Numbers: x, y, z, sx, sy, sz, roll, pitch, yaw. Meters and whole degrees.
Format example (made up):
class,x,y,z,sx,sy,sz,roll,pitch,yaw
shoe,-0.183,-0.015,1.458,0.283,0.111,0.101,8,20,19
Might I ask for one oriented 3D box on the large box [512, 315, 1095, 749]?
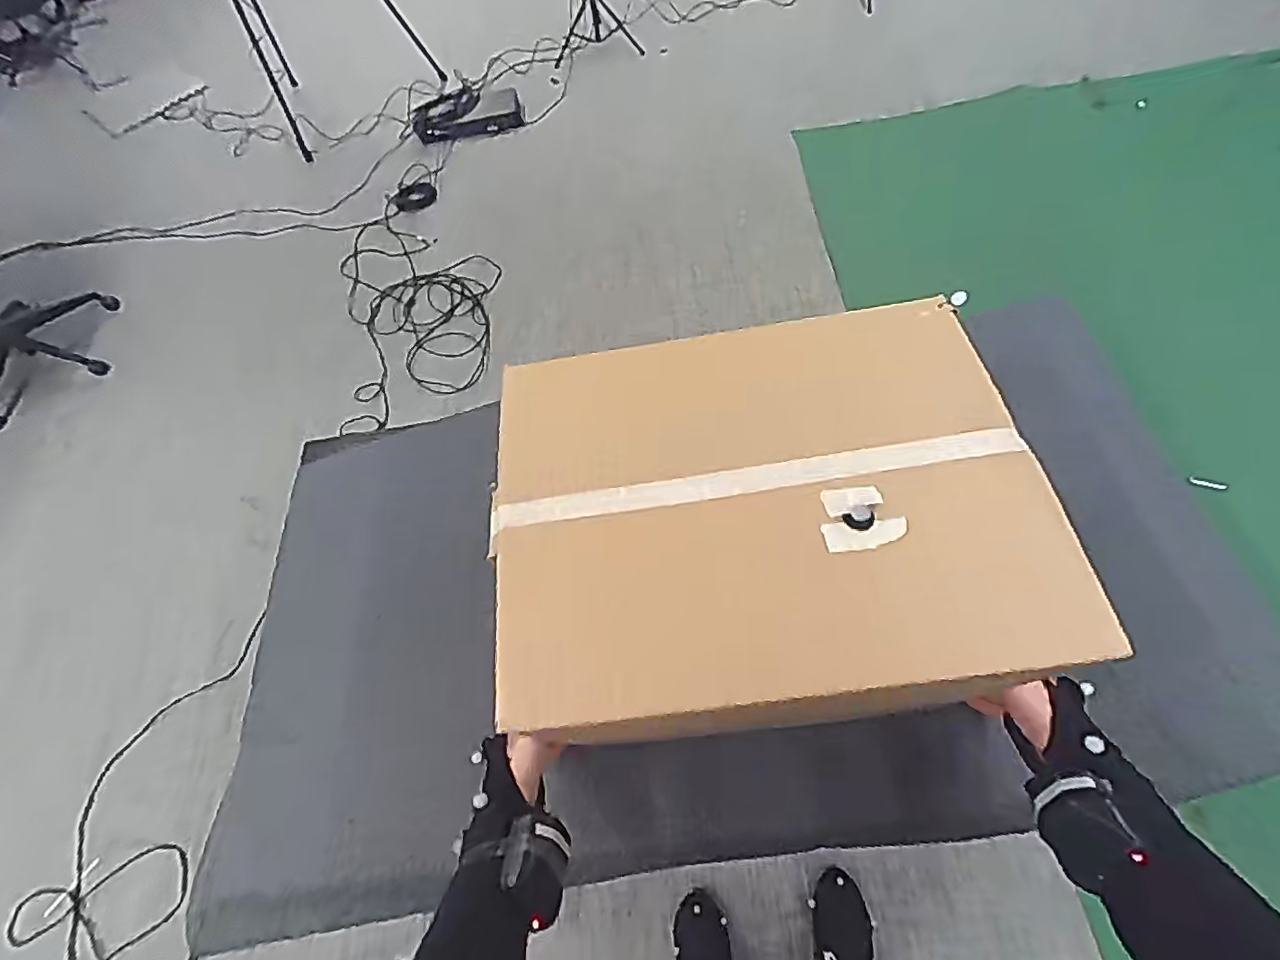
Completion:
class,x,y,z,sx,sy,sz,roll,pitch,yaw
large box,0.106,0.081,0.565,0.408,0.320,0.320,-9,62,3
